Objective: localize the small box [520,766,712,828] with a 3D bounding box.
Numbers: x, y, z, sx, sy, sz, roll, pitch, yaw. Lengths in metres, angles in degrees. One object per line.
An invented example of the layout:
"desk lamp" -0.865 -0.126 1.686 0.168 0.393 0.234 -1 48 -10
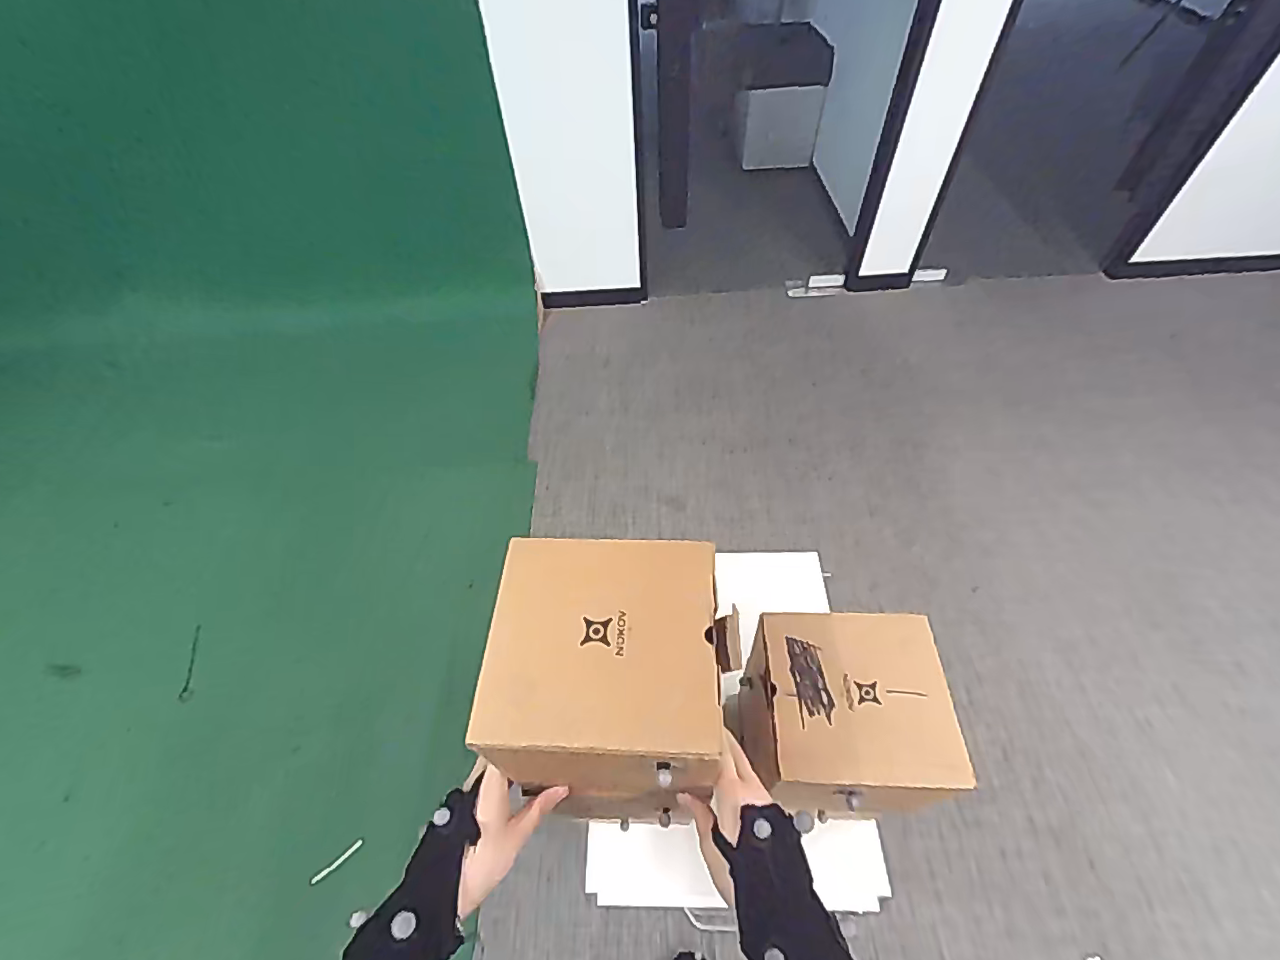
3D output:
"small box" -0.020 0.275 0.595 0.179 0.176 0.168 -1 51 1

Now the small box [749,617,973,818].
"small box" 0.216 0.263 0.592 0.179 0.176 0.168 0 52 3

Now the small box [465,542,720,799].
"small box" -0.026 0.169 0.470 0.179 0.176 0.168 1 51 2
